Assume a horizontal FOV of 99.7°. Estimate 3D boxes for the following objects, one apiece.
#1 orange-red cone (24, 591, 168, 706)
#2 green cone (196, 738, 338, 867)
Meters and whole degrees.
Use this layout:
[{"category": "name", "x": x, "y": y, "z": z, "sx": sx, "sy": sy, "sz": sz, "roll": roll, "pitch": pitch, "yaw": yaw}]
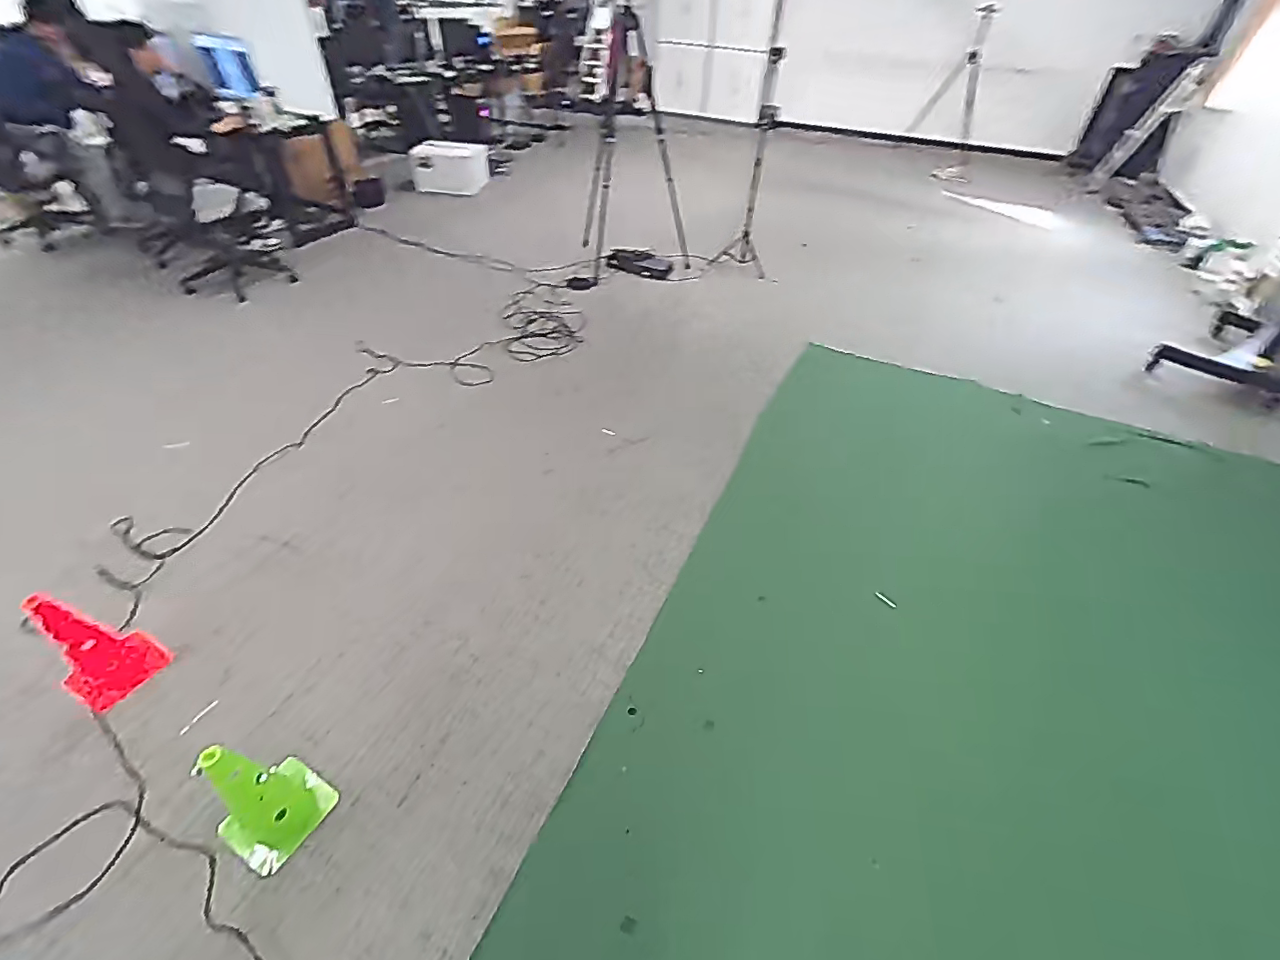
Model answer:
[{"category": "orange-red cone", "x": -1.514, "y": 0.416, "z": 1.462, "sx": 0.199, "sy": 0.360, "sz": 0.198, "roll": 24, "pitch": 47, "yaw": 19}, {"category": "green cone", "x": -0.877, "y": 0.674, "z": 1.214, "sx": 0.202, "sy": 0.368, "sz": 0.200, "roll": 21, "pitch": 45, "yaw": 20}]
